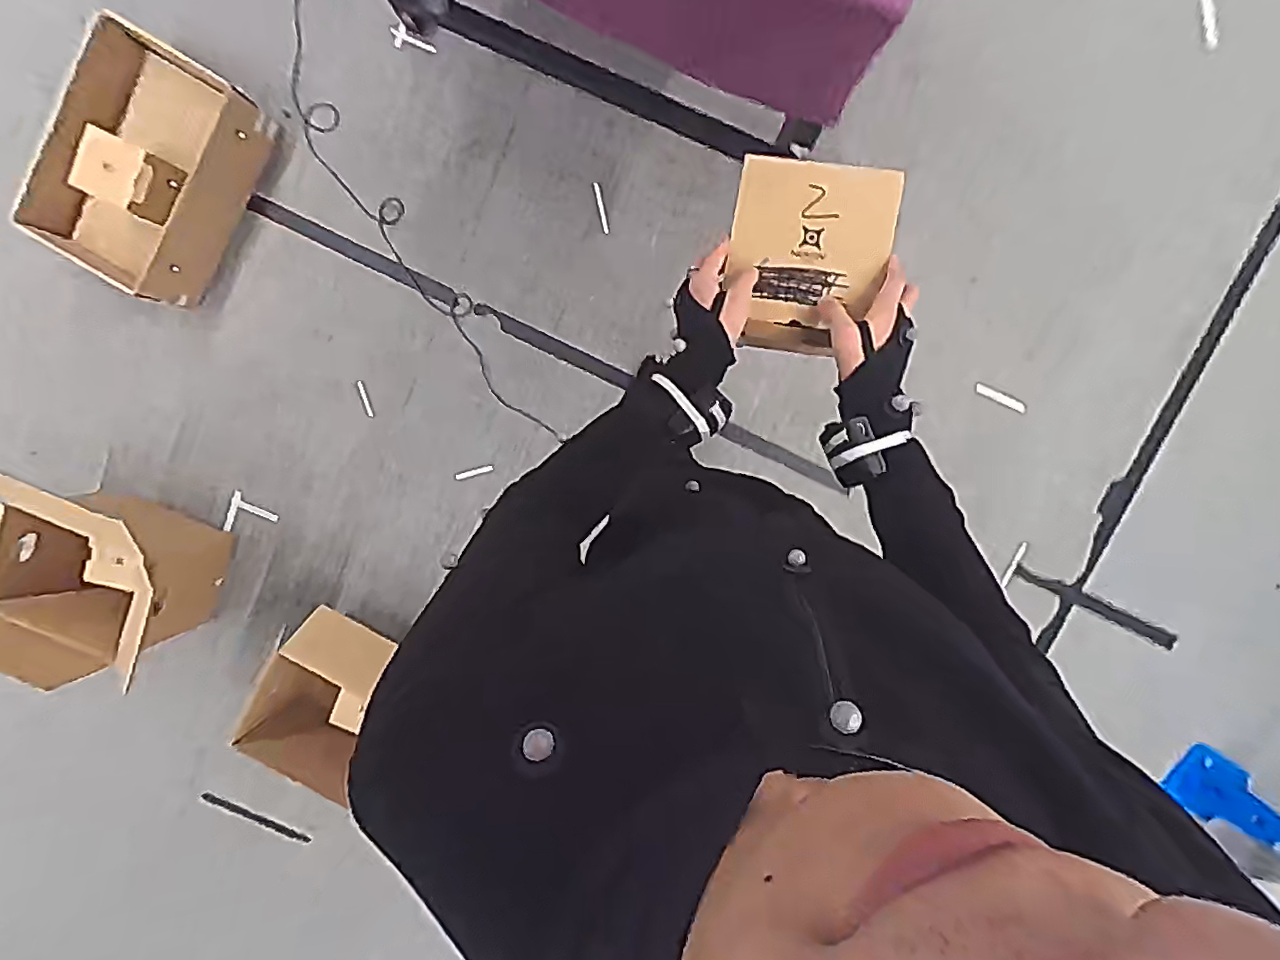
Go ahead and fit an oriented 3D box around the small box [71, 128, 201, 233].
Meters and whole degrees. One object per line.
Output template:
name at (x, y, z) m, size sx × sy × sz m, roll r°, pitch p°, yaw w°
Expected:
small box at (-1.361, -0.803, 1.473) m, size 0.179 × 0.176 × 0.168 m, roll 26°, pitch 95°, yaw 0°
